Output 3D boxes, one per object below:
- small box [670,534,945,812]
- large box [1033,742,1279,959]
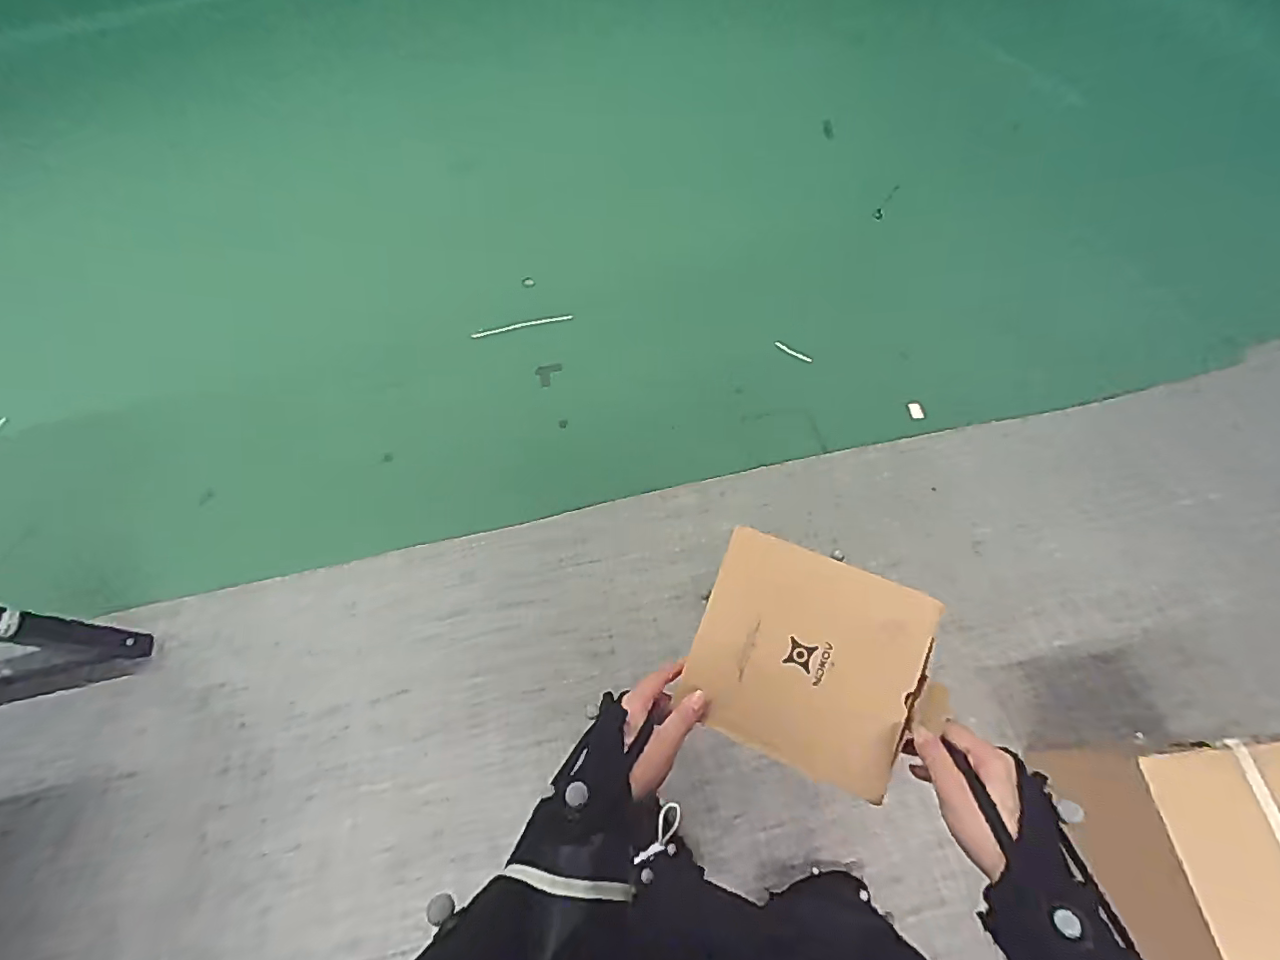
[{"bbox_3d":[0.144,0.161,0.505,0.179,0.176,0.168,18,81,13],"label":"small box"},{"bbox_3d":[0.958,0.668,0.883,0.320,0.320,0.408,-7,65,1],"label":"large box"}]
